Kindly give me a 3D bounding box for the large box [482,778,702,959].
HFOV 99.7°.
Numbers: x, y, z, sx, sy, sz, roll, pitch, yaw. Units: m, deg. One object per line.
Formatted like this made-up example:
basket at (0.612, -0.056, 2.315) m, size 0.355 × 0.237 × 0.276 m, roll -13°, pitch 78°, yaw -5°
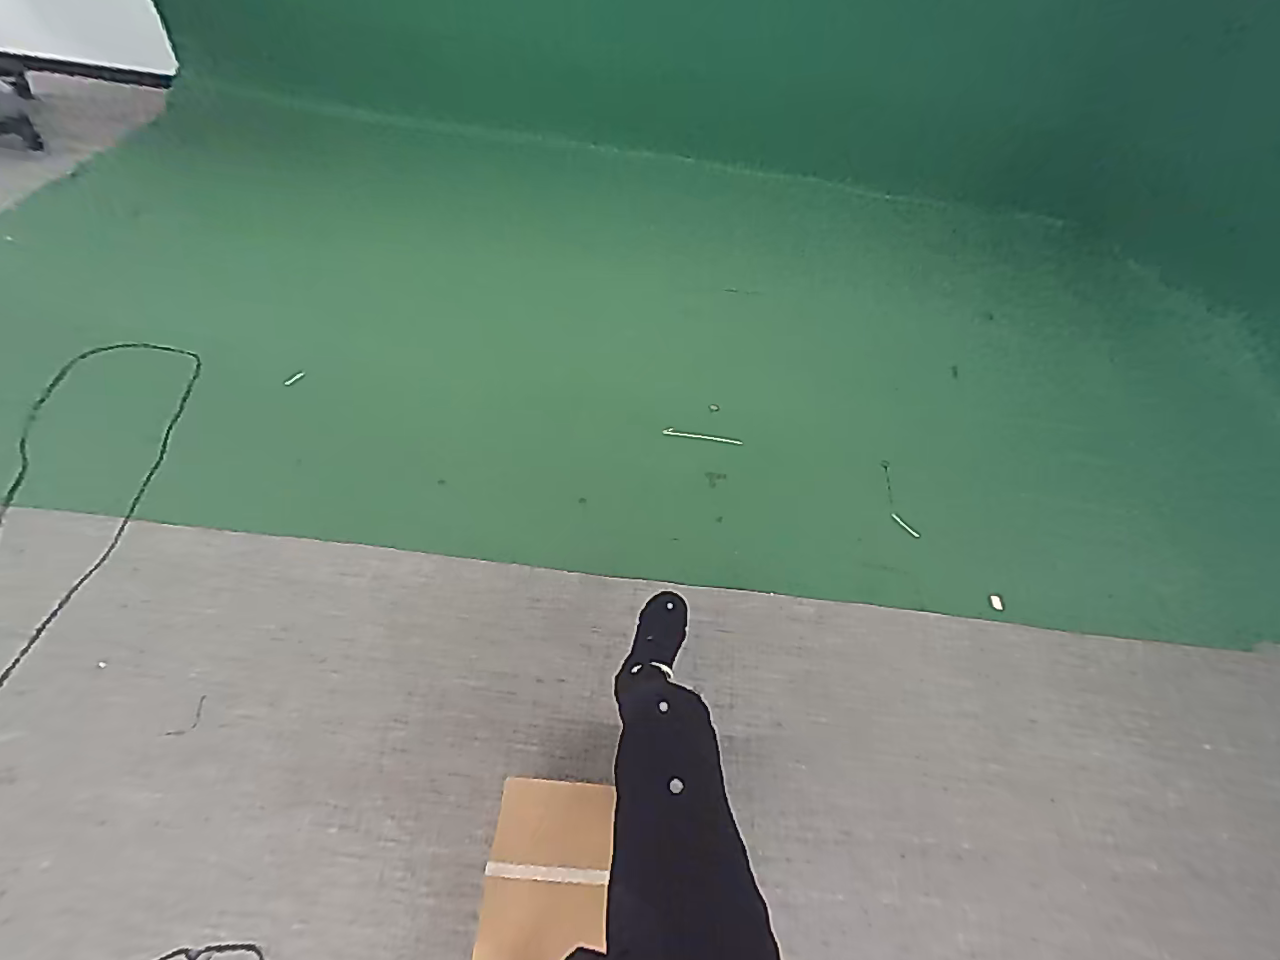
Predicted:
large box at (-0.099, 0.855, 1.166) m, size 0.408 × 0.320 × 0.320 m, roll 6°, pitch 52°, yaw -4°
